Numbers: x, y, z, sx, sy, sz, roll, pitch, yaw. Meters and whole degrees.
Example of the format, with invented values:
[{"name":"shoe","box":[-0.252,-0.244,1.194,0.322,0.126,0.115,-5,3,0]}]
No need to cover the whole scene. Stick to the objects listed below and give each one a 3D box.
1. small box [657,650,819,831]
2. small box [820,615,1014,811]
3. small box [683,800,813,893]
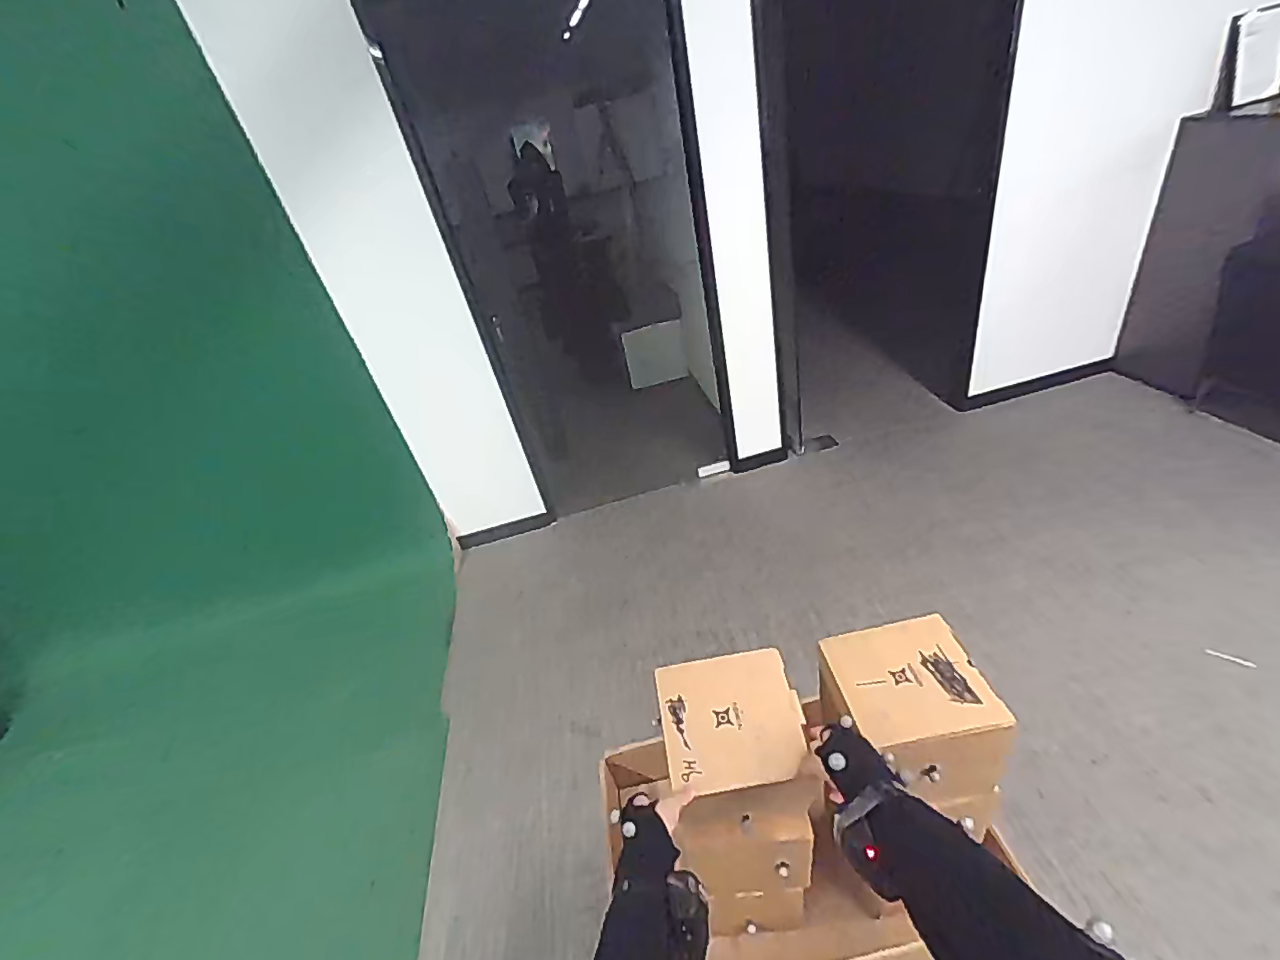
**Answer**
[{"name":"small box","box":[0.122,0.356,0.736,0.179,0.176,0.168,-9,44,0]},{"name":"small box","box":[0.356,0.314,0.732,0.179,0.176,0.168,-13,33,3]},{"name":"small box","box":[0.154,0.502,0.831,0.179,0.176,0.168,-8,33,3]}]
